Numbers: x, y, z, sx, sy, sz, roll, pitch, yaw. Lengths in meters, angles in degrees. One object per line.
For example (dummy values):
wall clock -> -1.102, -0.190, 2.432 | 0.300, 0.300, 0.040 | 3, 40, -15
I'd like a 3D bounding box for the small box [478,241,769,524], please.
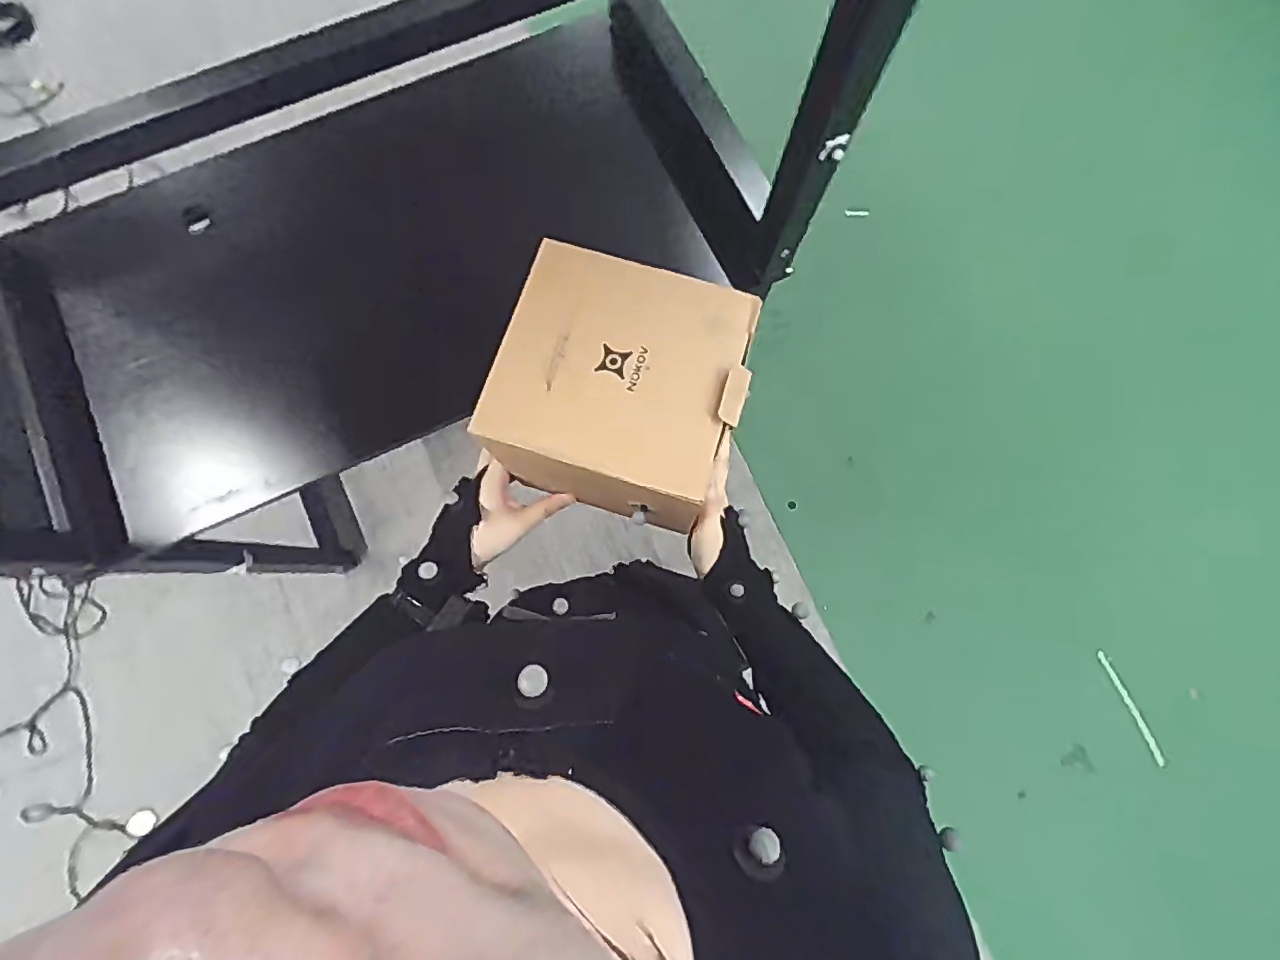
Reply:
small box -> -0.009, -0.067, 0.472 | 0.179, 0.176, 0.168 | 17, 78, 5
